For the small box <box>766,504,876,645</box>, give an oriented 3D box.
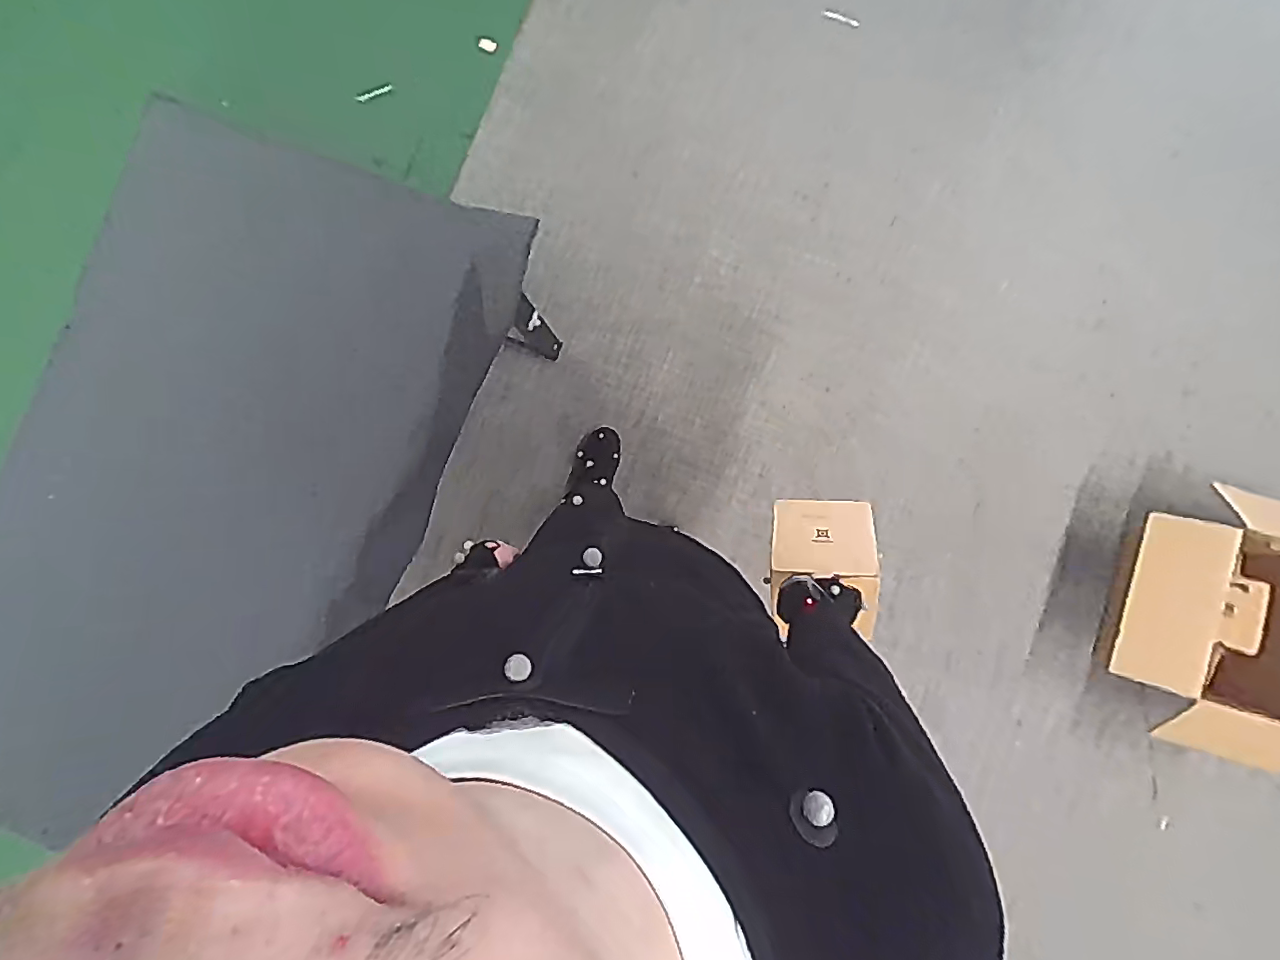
[{"bbox_3d":[0.311,0.165,0.950,0.168,0.179,0.176,3,129,15],"label":"small box"}]
